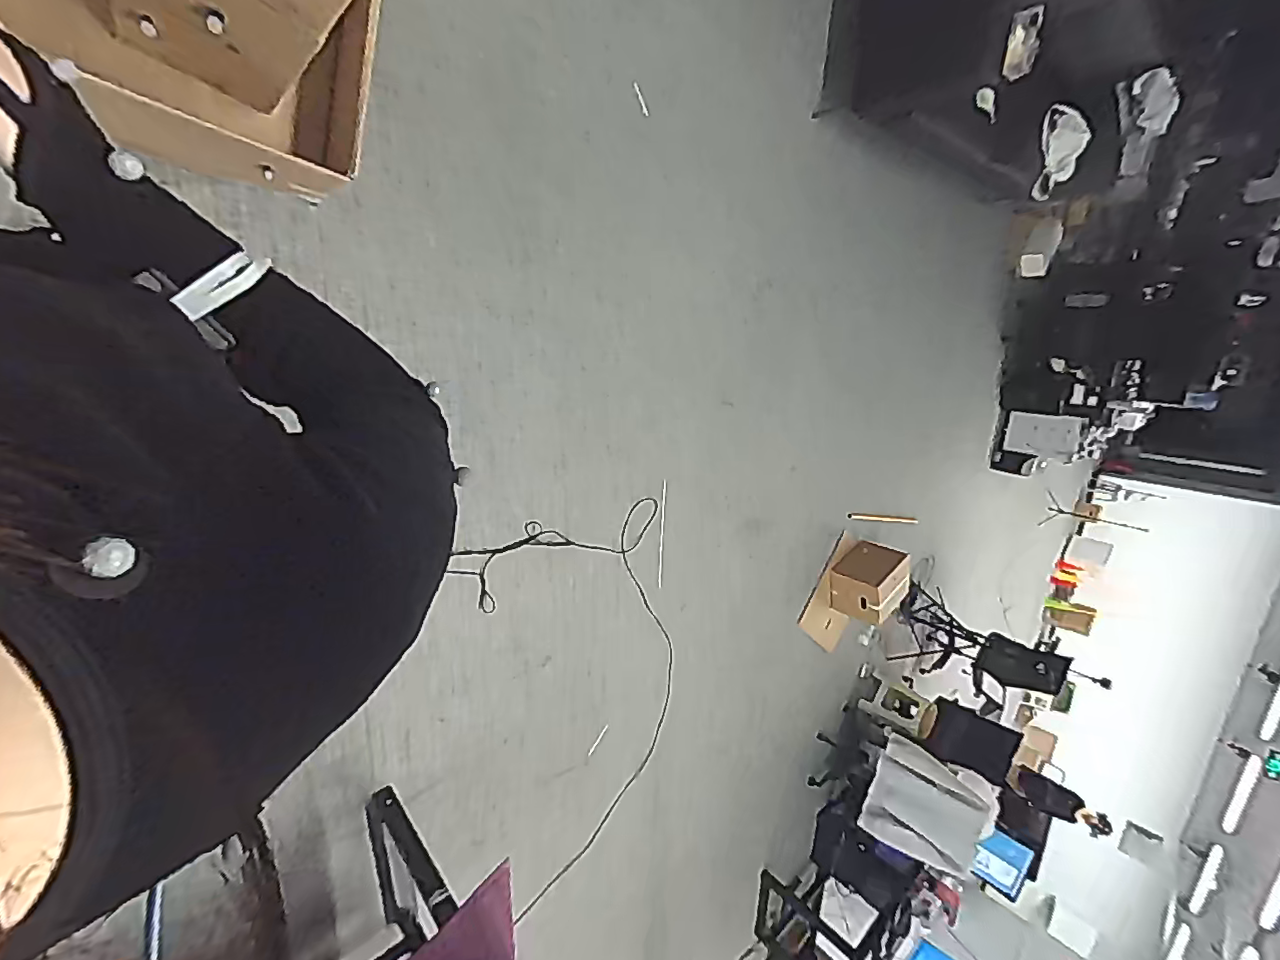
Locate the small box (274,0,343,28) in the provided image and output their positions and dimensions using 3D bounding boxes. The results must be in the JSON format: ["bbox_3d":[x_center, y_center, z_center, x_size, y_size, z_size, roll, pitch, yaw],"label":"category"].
[{"bbox_3d":[-0.299,-0.523,0.429,0.168,0.176,0.179,15,92,-44],"label":"small box"}]

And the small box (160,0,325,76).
[{"bbox_3d":[-0.406,-0.561,0.547,0.168,0.176,0.179,13,95,-44],"label":"small box"}]
